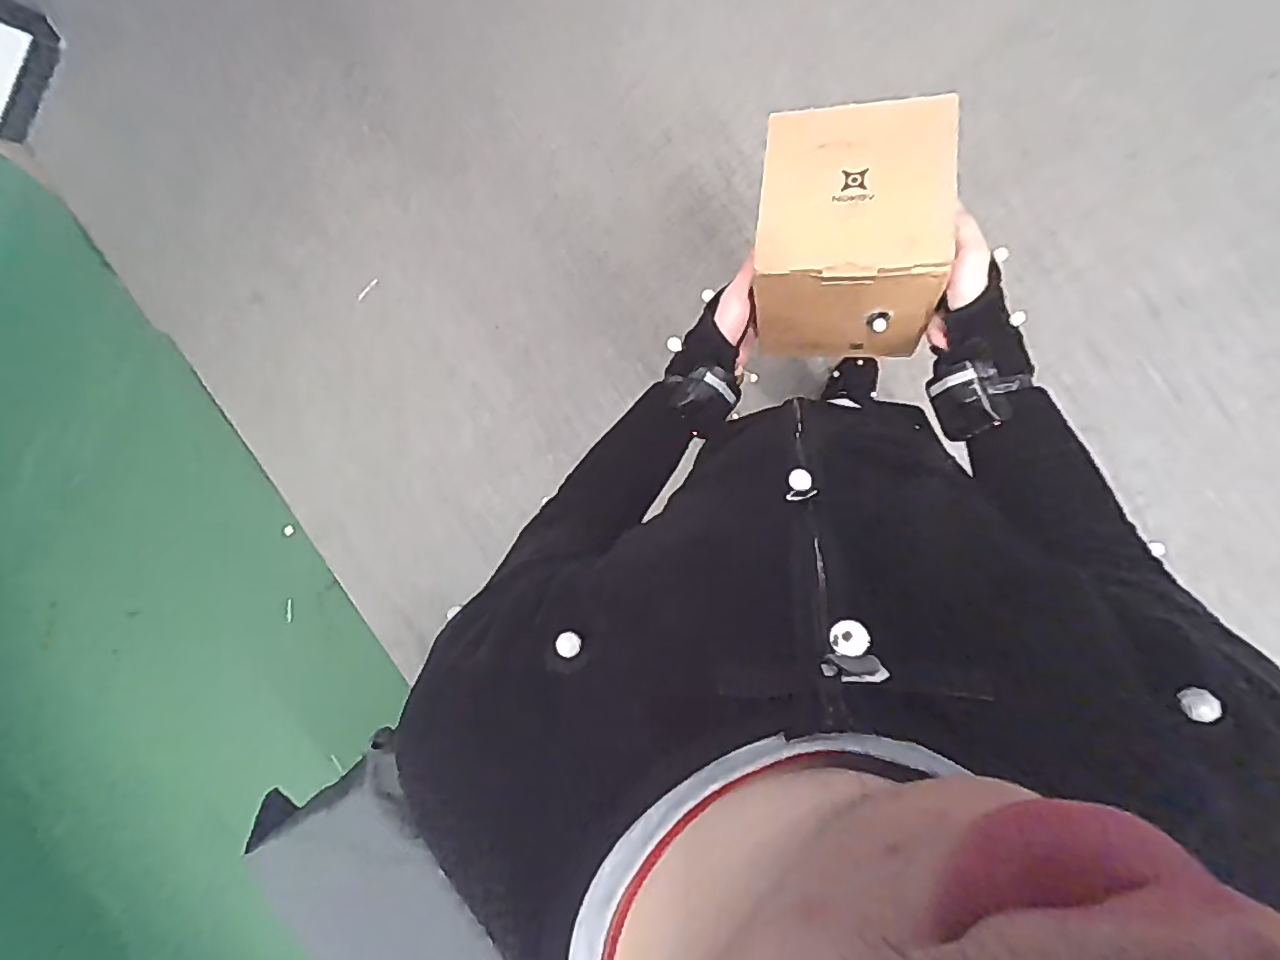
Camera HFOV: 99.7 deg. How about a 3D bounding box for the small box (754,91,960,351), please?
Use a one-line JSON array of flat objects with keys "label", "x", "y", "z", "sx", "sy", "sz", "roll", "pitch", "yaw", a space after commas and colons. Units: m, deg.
[{"label": "small box", "x": 0.211, "y": -0.247, "z": 0.555, "sx": 0.168, "sy": 0.176, "sz": 0.179, "roll": 5, "pitch": 76, "yaw": 15}]
